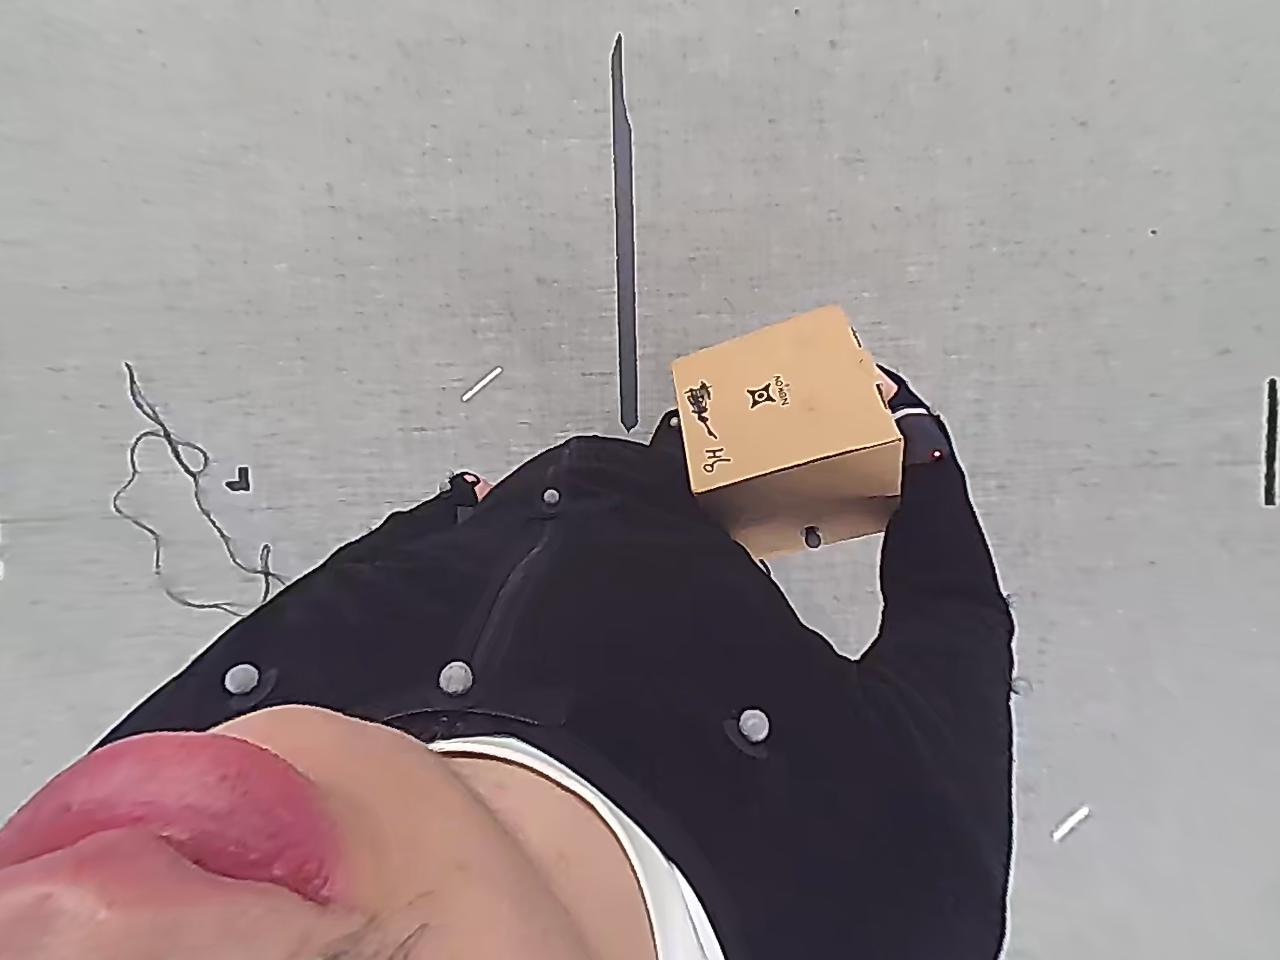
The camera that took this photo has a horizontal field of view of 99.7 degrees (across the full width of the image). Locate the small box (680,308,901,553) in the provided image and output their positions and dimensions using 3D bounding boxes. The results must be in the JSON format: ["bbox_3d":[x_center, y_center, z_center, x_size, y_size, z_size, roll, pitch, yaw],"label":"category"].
[{"bbox_3d":[0.155,-0.042,0.569,0.179,0.176,0.168,-15,55,15],"label":"small box"}]
